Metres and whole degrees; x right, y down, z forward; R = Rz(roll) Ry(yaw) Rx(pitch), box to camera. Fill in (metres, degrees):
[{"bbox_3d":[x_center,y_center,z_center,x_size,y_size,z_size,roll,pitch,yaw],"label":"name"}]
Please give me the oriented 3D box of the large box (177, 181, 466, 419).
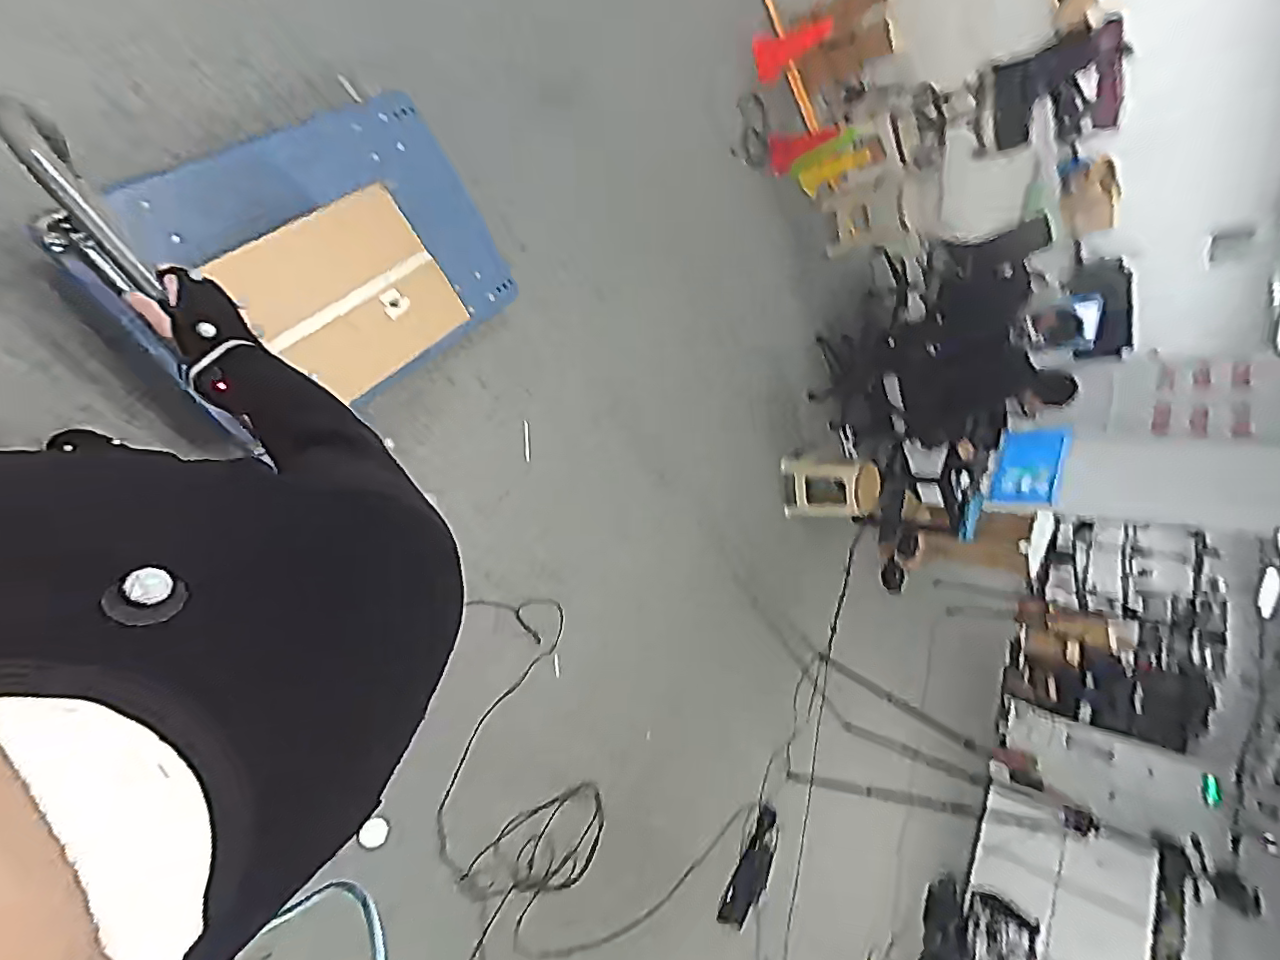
[{"bbox_3d":[-0.680,-0.374,1.183,0.408,0.320,0.320,-50,126,-31],"label":"large box"}]
